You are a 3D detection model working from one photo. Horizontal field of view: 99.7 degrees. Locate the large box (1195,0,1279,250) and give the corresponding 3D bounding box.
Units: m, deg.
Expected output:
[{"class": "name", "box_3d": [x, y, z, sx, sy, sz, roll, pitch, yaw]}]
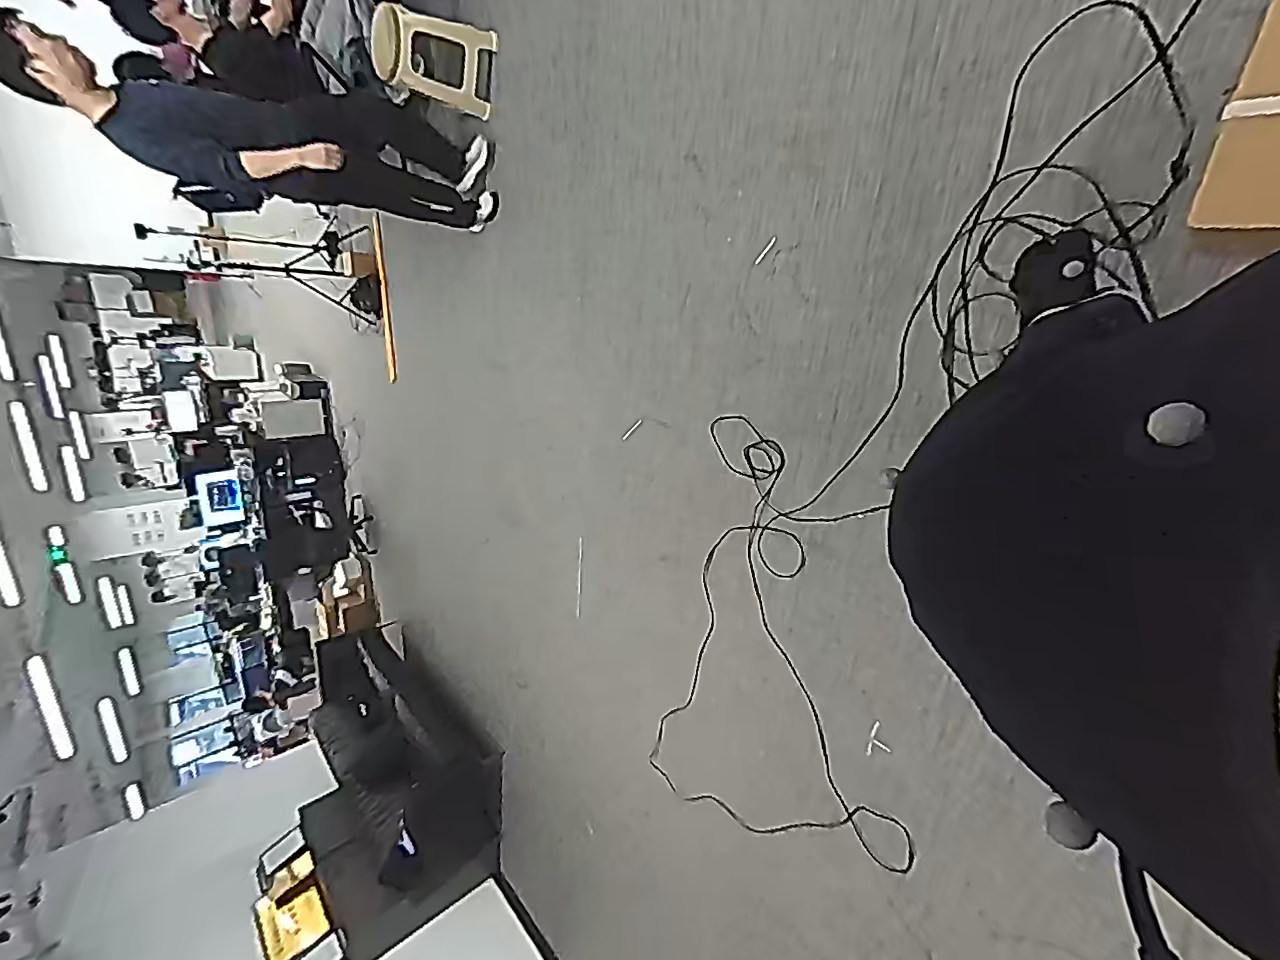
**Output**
[{"class": "large box", "box_3d": [1.093, -0.505, 0.743, 0.408, 0.320, 0.320, 23, 116, 41]}]
